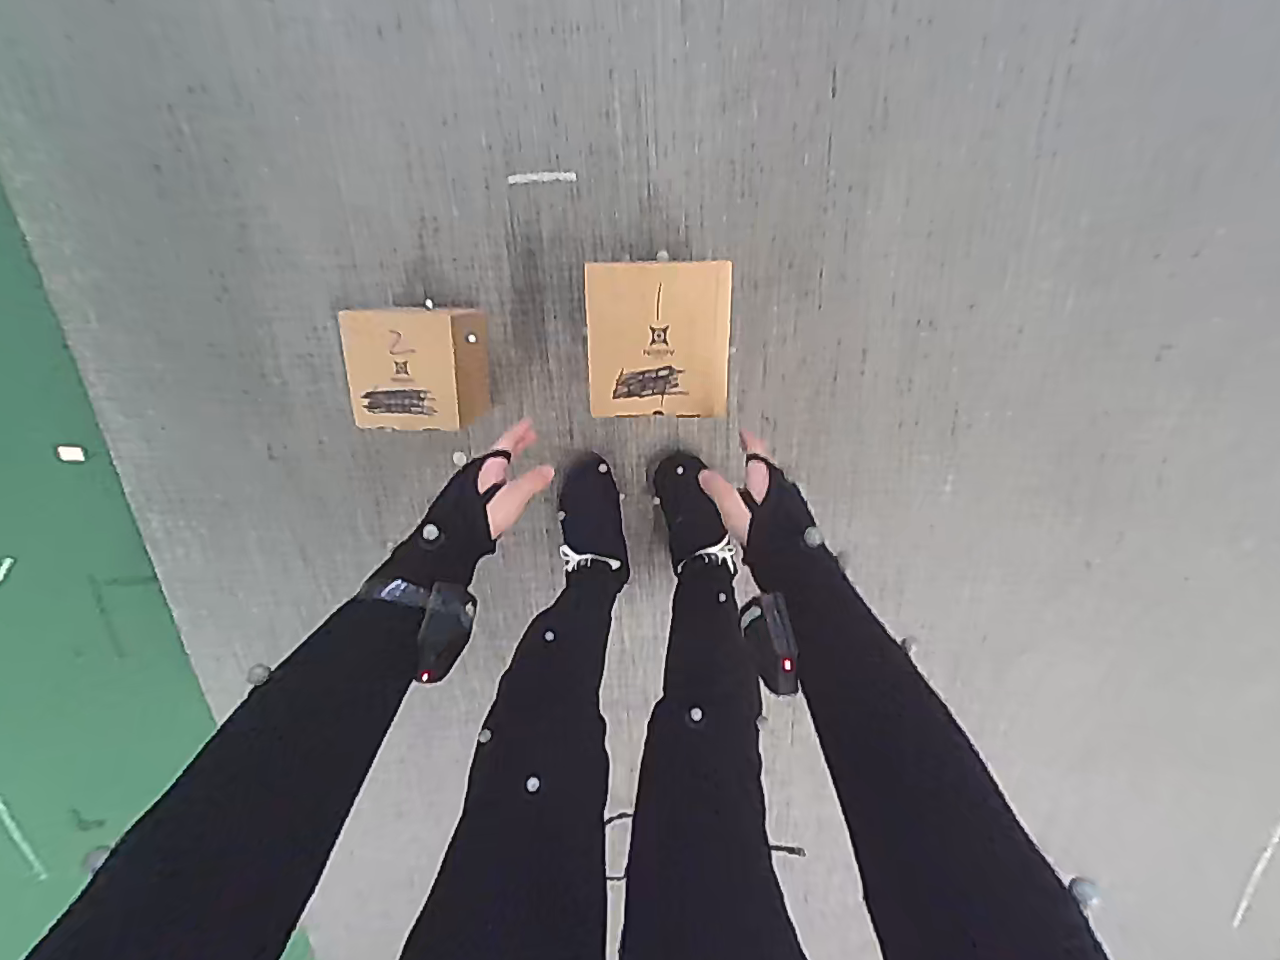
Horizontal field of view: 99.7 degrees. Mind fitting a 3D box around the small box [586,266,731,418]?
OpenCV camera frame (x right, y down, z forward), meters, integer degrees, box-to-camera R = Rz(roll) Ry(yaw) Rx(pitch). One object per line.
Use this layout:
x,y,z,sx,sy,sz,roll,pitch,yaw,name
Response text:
0.023,-0.185,0.709,0.168,0.176,0.179,0,109,2,small box
